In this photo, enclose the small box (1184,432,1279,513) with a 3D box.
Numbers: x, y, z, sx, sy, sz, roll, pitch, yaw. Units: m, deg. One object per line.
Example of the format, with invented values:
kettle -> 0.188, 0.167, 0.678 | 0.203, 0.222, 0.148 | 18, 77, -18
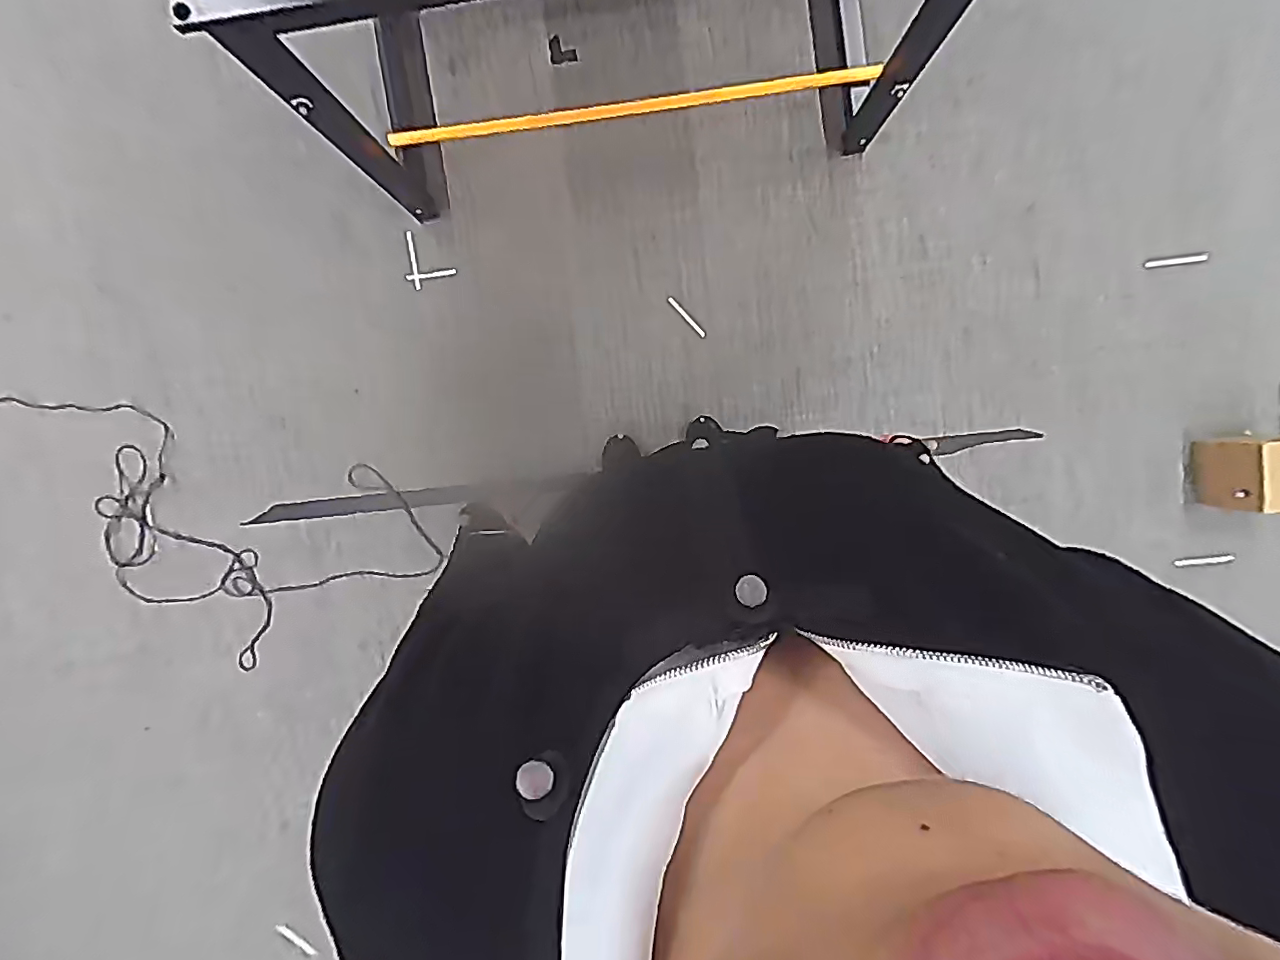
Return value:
small box -> 1.548, -0.024, 1.377 | 0.168, 0.176, 0.179 | -8, 95, 2
